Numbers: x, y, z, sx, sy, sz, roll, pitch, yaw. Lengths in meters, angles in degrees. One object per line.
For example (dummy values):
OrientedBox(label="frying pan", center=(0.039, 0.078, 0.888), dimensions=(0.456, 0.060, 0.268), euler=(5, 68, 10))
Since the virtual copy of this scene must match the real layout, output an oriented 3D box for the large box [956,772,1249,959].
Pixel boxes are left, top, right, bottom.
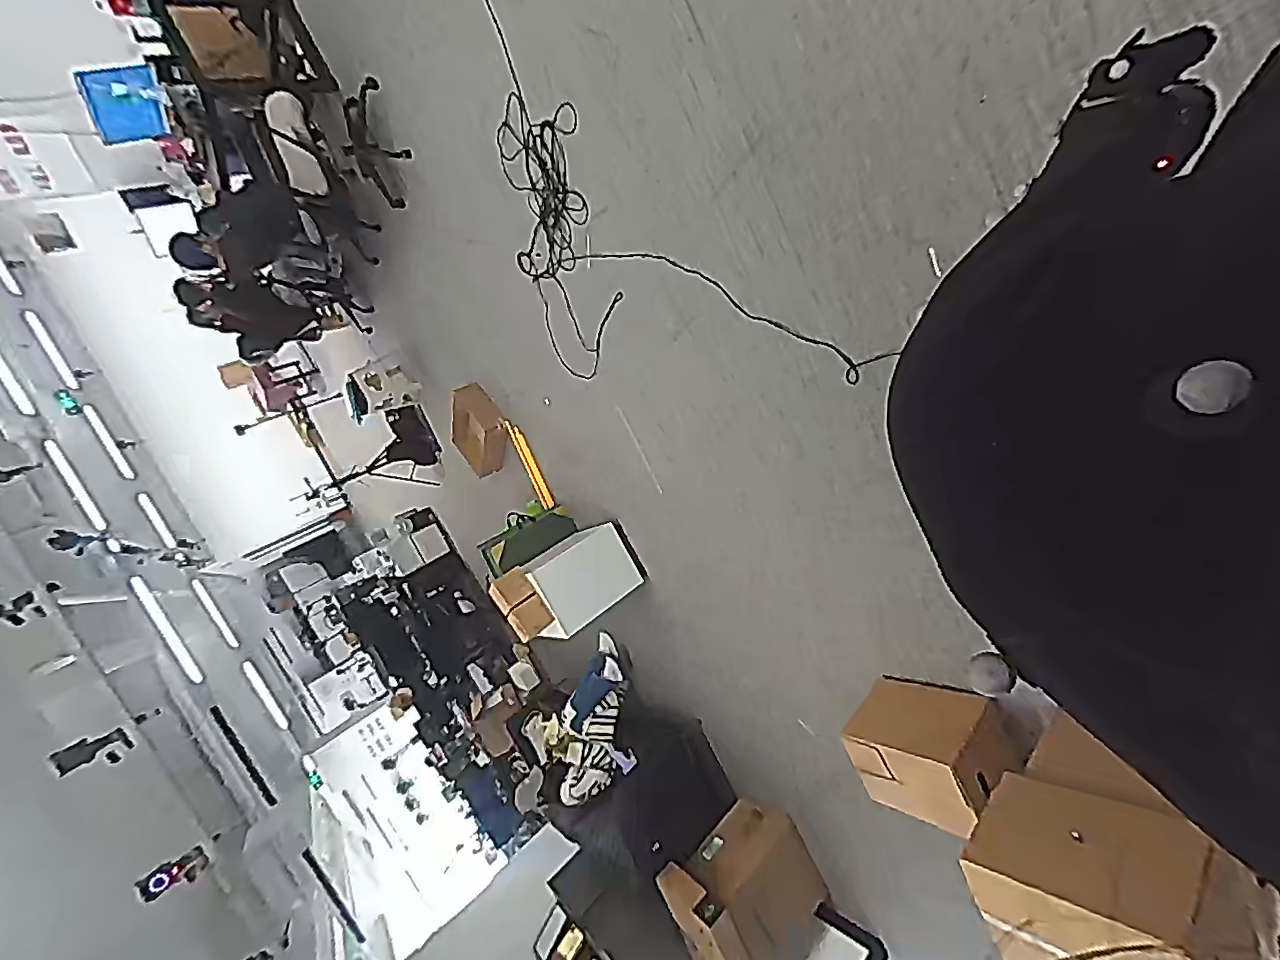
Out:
OrientedBox(label="large box", center=(1.030, 0.938, 1.227), dimensions=(0.408, 0.320, 0.320), euler=(-18, 98, 56))
